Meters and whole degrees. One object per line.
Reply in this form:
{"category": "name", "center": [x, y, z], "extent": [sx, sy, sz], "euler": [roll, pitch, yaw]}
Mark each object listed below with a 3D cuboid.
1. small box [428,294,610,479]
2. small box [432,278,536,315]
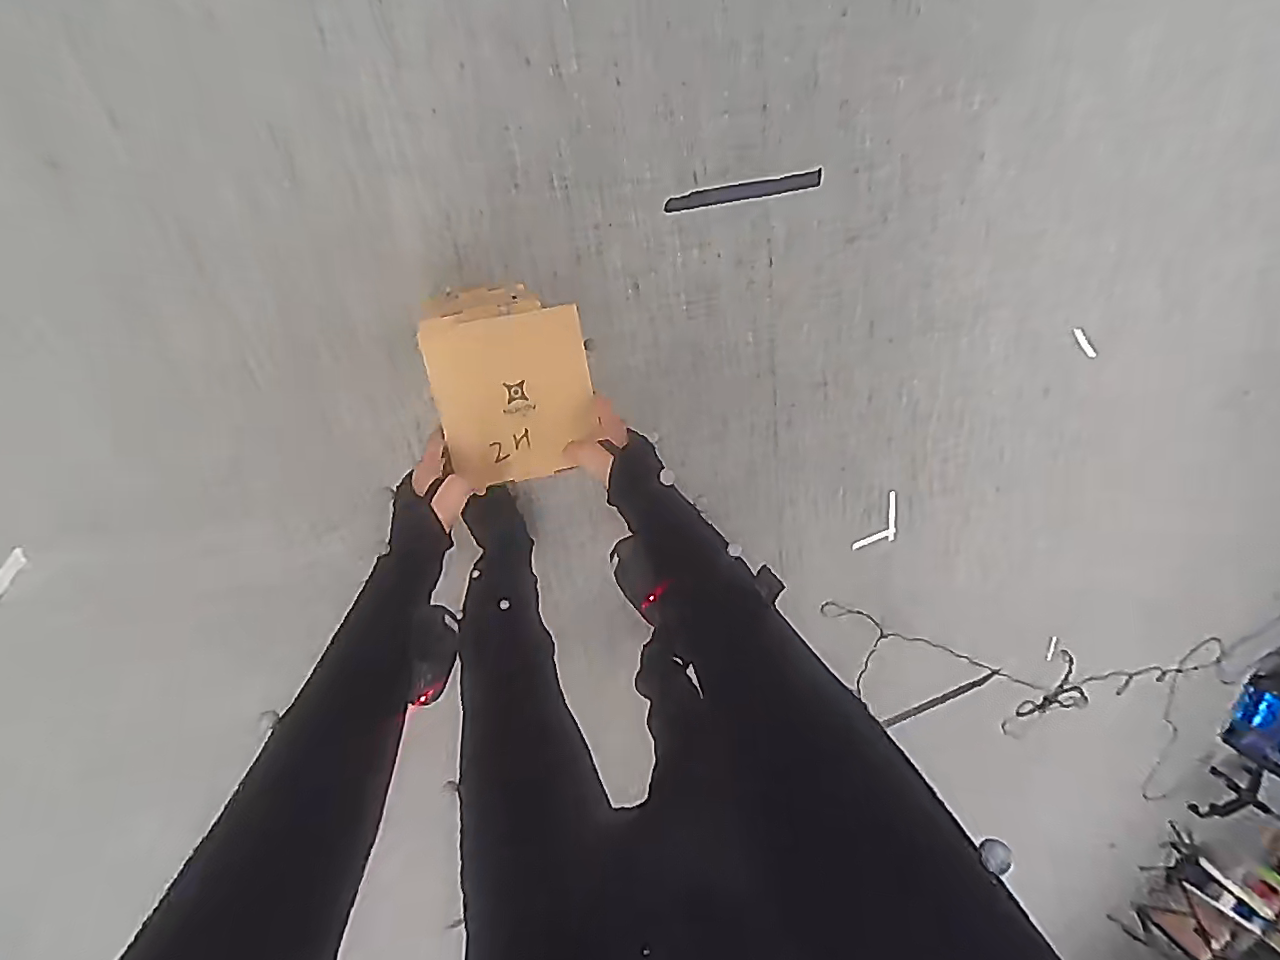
{"category": "small box", "center": [-0.141, -0.117, 0.657], "extent": [0.168, 0.176, 0.179], "euler": [-12, 107, -8]}
{"category": "small box", "center": [-0.269, -0.263, 0.982], "extent": [0.168, 0.176, 0.179], "euler": [-17, 116, -12]}
